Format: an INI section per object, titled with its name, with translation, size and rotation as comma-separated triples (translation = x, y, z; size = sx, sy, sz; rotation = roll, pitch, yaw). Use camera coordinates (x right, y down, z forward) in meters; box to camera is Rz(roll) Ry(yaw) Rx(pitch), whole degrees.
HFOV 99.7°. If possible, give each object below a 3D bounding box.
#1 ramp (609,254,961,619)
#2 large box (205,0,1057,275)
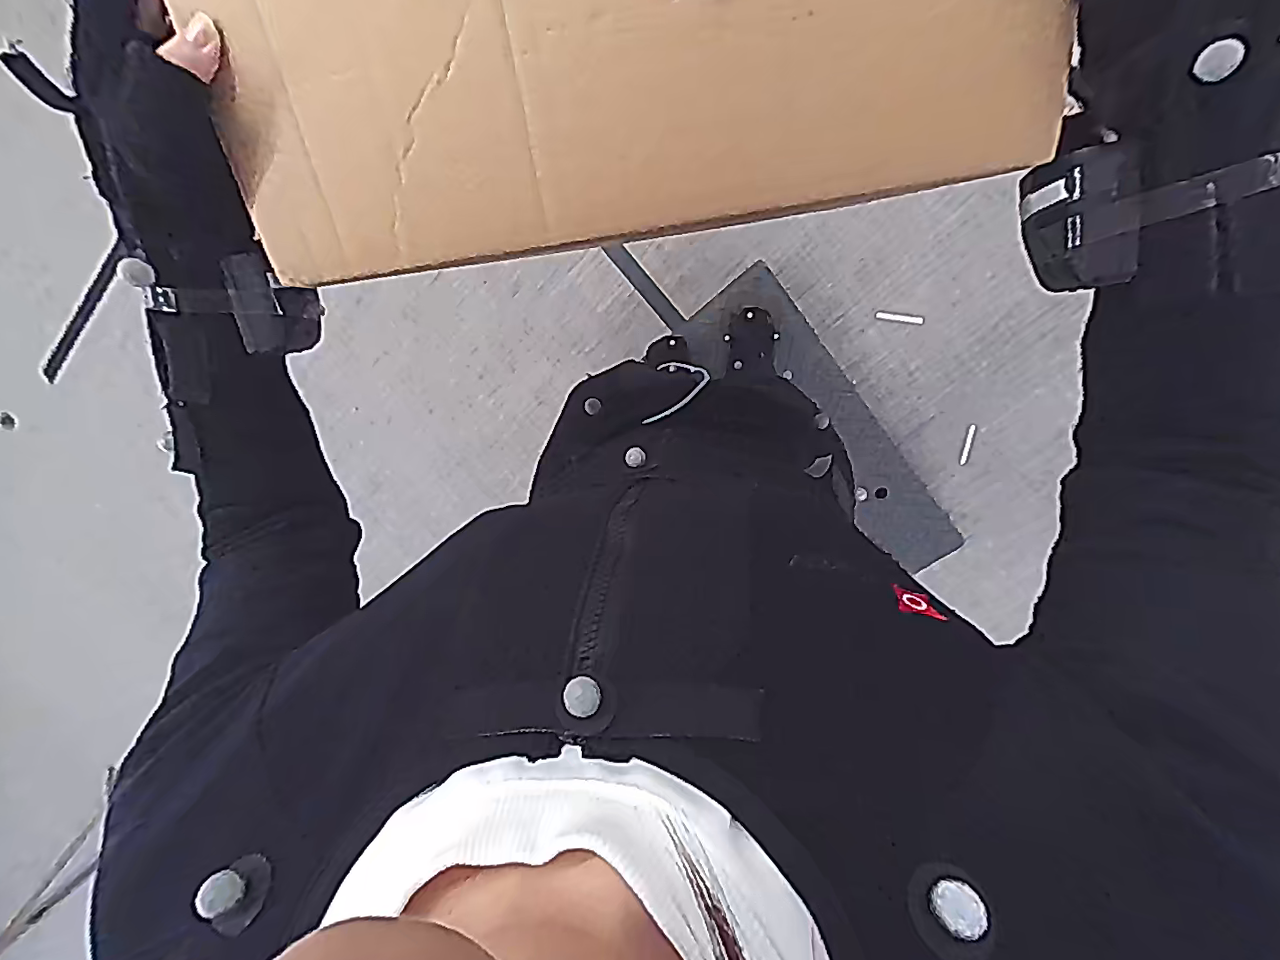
[ramp]
translation = 0.422, -0.049, 1.477
size = 0.509, 0.206, 0.991
rotation = -40, 97, 17
[large box]
translation = -0.010, -0.340, 0.366
size = 0.408, 0.320, 0.320
rotation = -5, 115, 9
